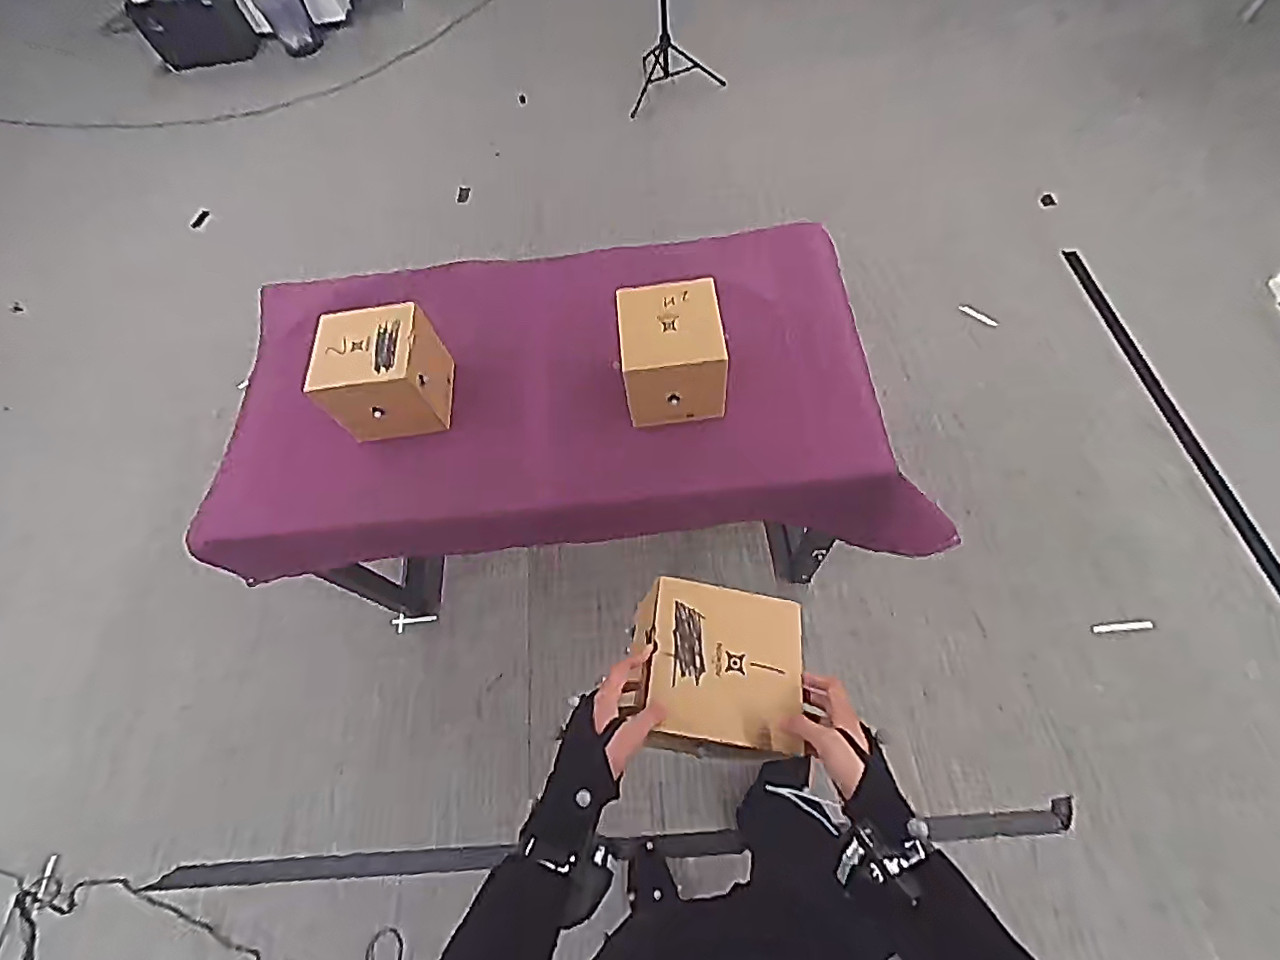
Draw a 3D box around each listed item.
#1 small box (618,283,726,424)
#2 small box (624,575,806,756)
[{"bbox_3d":[0.056,-0.210,0.943,0.168,0.176,0.179,-6,63,3],"label":"small box"},{"bbox_3d":[0.084,0.235,0.664,0.179,0.176,0.168,12,59,-6],"label":"small box"}]
